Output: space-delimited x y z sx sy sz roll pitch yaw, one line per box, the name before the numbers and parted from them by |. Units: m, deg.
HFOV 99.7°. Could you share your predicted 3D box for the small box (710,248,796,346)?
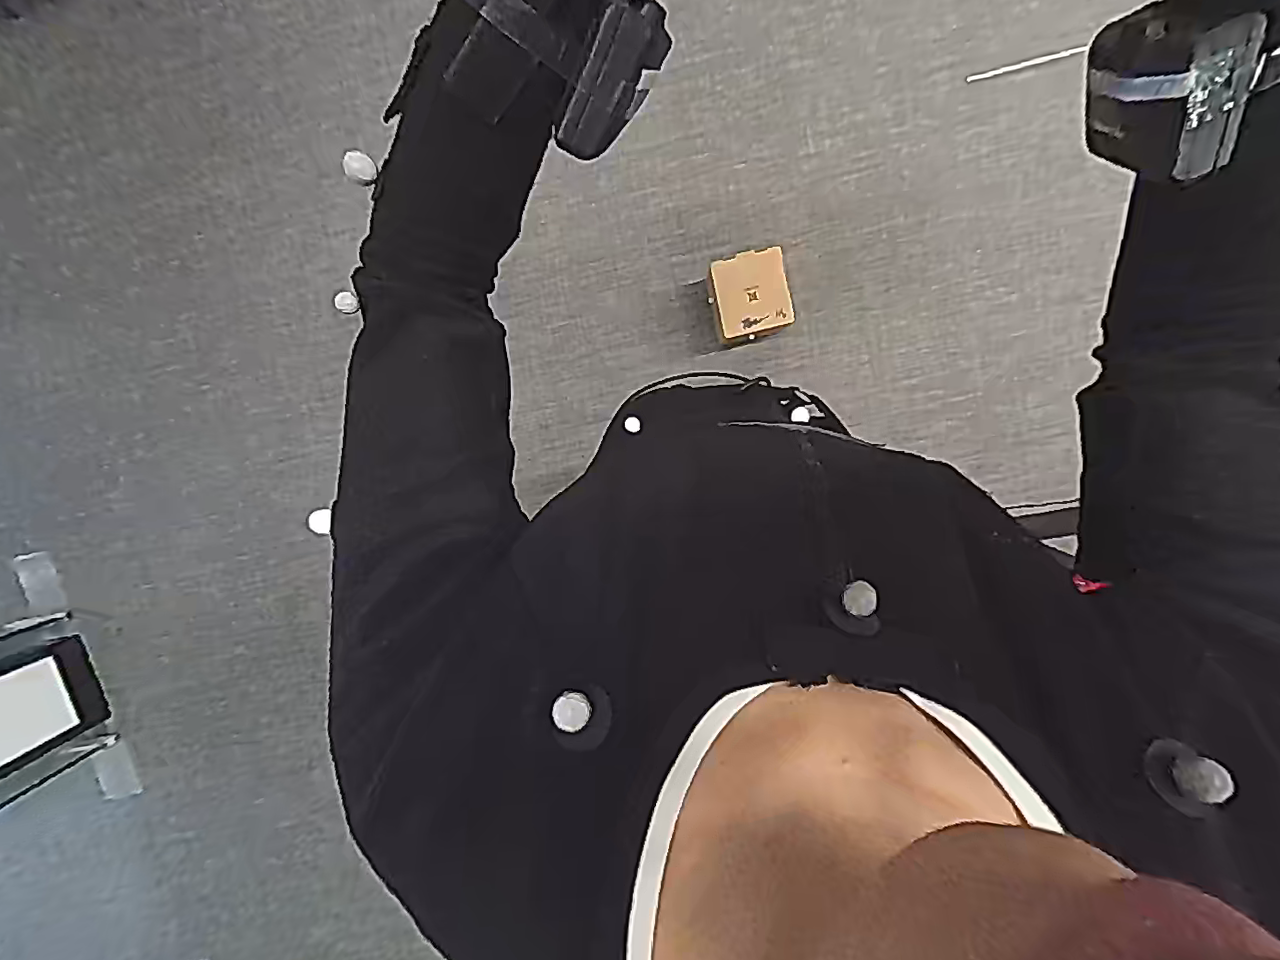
small box | 0.268 -0.437 1.317 0.168 0.176 0.179 -12 96 6
